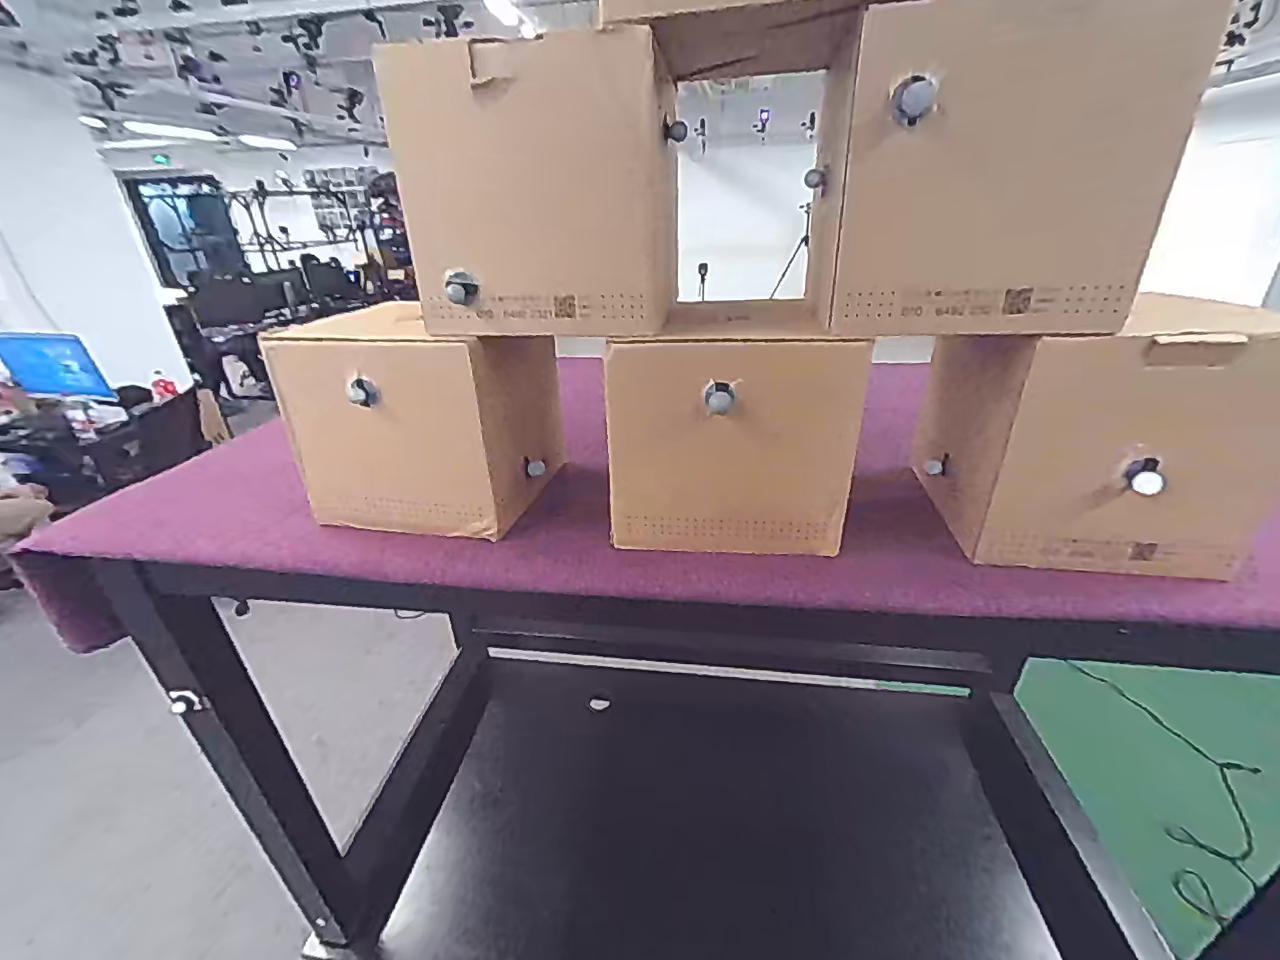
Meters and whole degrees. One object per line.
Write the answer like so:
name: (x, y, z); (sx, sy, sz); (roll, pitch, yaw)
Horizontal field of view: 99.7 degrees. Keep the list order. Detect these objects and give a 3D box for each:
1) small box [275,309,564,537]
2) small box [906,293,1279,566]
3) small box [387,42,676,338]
small box: (-0.182, -0.061, 0.504); (0.179, 0.176, 0.168); (4, 26, 11)
small box: (0.331, -0.048, 0.432); (0.168, 0.176, 0.179); (3, 27, 10)
small box: (-0.060, -0.210, 0.427); (0.168, 0.176, 0.179); (2, 25, 8)
